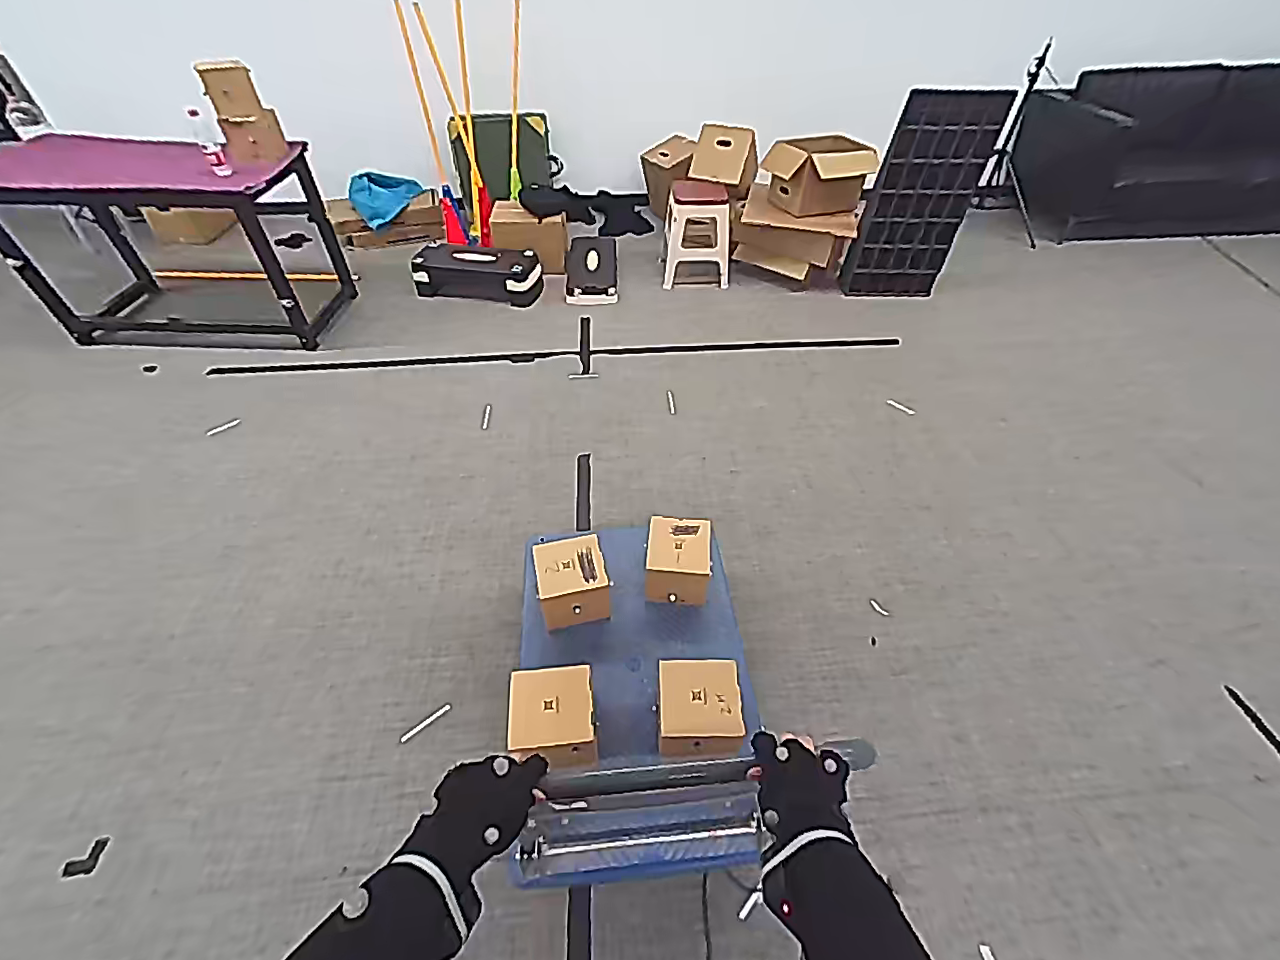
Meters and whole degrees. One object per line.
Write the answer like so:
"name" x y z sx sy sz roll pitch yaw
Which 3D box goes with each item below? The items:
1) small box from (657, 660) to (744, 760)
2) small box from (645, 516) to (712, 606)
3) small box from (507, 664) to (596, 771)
"small box" 0.127 0.518 1.213 0.179 0.176 0.168 1 48 0
"small box" 0.105 0.223 1.485 0.168 0.176 0.179 5 48 4
"small box" -0.191 0.528 1.198 0.179 0.176 0.168 -3 47 -6
